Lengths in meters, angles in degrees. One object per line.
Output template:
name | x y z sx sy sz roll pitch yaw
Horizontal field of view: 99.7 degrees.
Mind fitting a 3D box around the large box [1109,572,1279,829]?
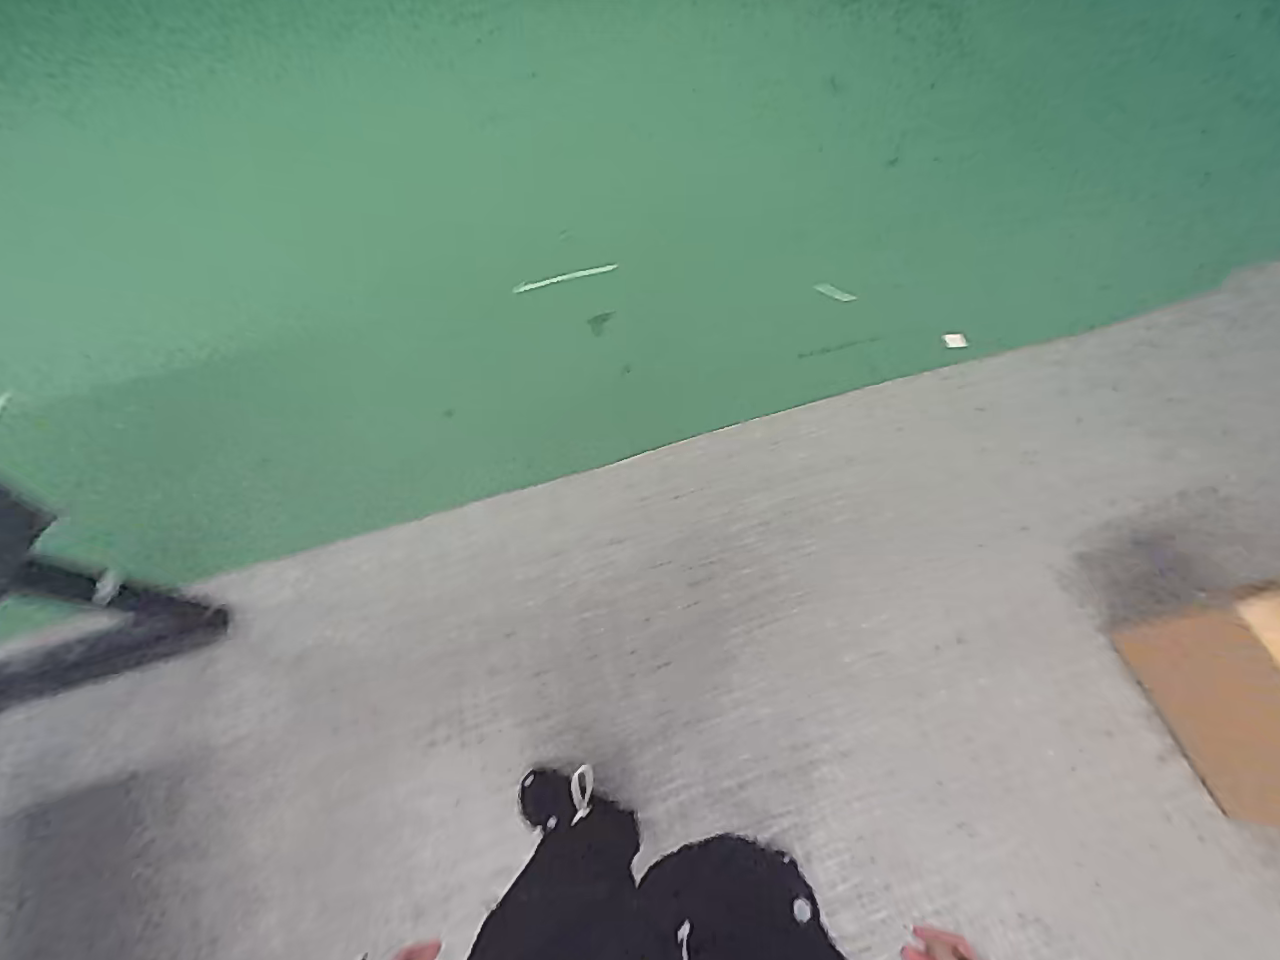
large box | 1.272 0.415 1.048 0.320 0.320 0.408 -18 68 -7
